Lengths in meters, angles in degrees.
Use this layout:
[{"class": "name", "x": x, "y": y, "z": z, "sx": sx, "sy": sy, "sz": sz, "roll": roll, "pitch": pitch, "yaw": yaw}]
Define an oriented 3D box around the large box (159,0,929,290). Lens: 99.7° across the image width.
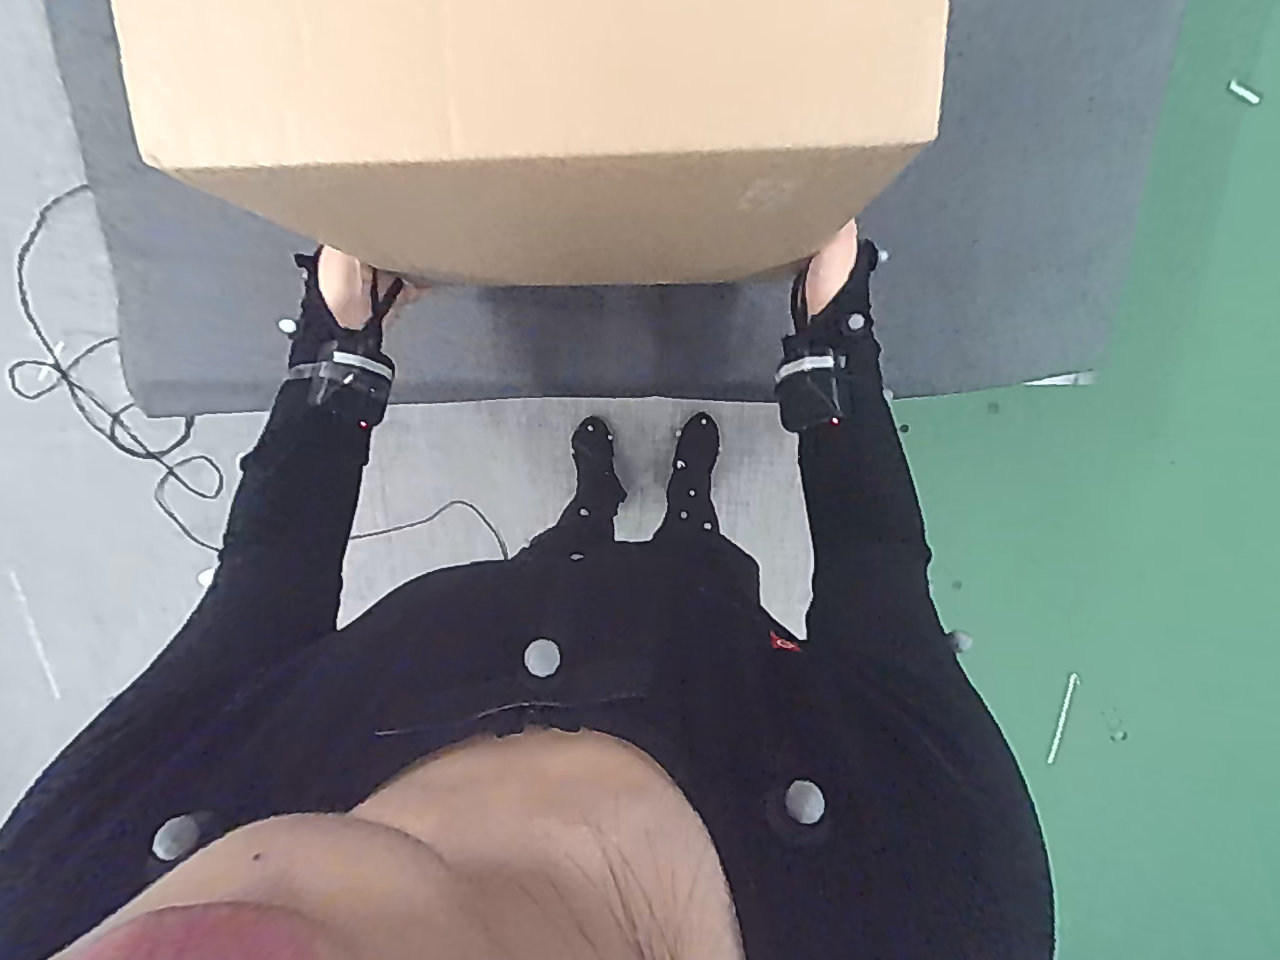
[{"class": "large box", "x": -0.050, "y": -0.340, "z": 0.414, "sx": 0.408, "sy": 0.320, "sz": 0.320, "roll": -1, "pitch": 99, "yaw": 3}]
